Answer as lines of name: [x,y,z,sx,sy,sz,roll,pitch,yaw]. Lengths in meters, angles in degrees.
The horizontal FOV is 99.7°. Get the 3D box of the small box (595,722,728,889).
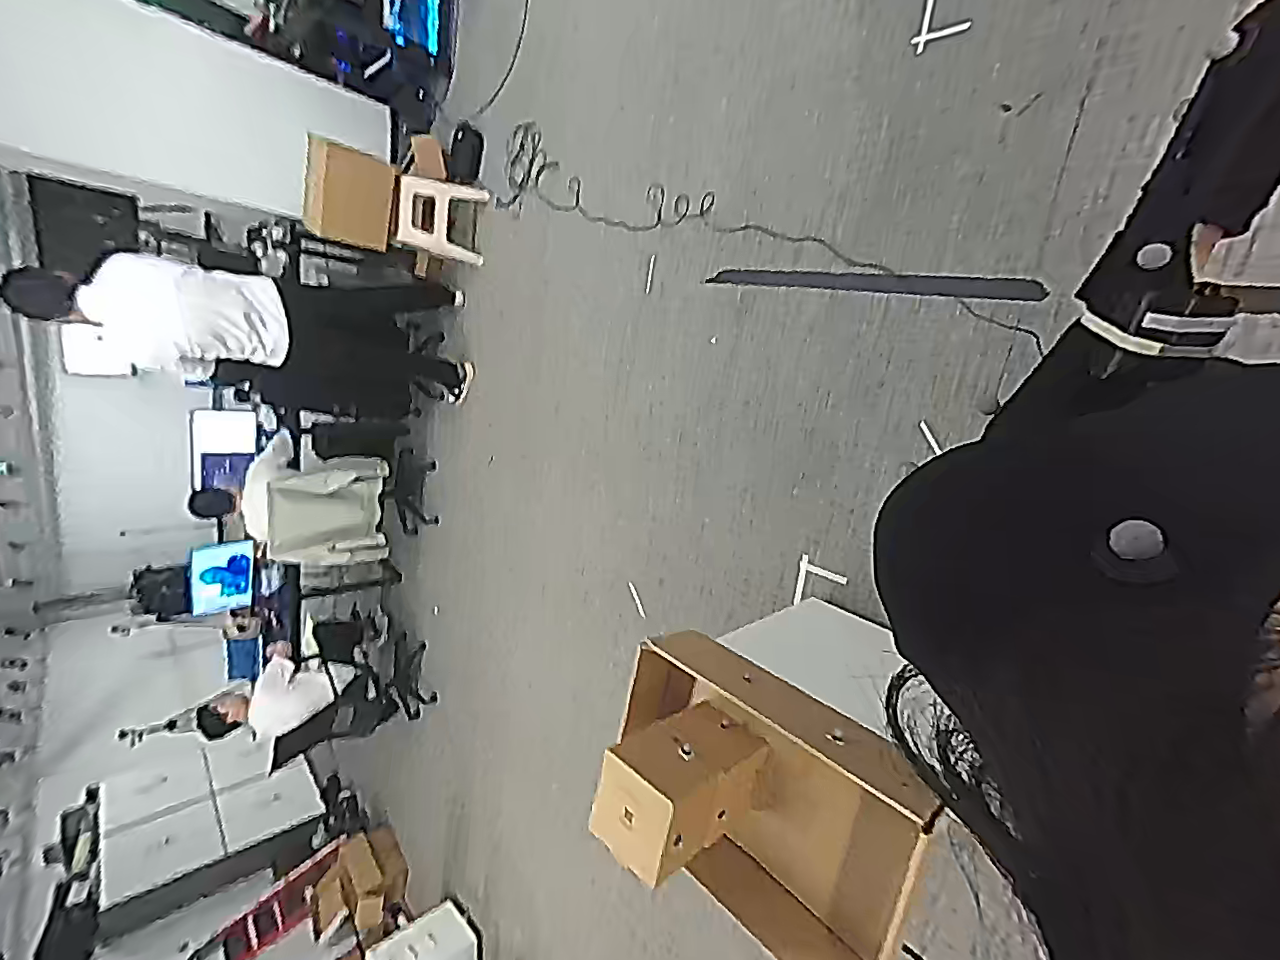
small box: [0.044,0.590,1.007,0.168,0.176,0.179,19,101,39]

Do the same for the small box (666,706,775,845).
small box: [0.151,0.599,1.130,0.179,0.176,0.168,20,103,42]
